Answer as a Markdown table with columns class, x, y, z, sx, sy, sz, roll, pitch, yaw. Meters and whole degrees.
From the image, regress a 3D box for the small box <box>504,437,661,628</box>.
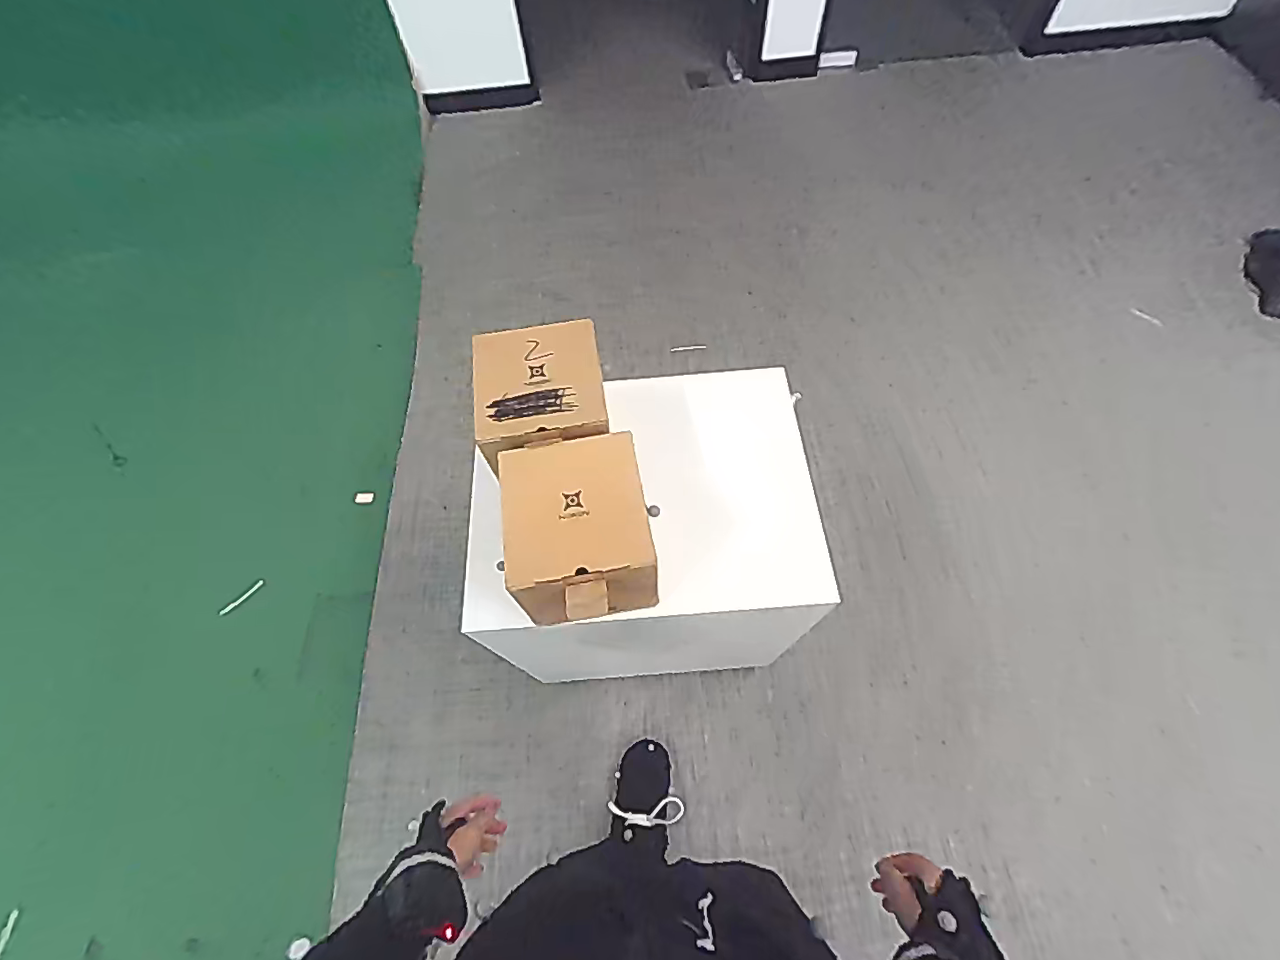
| class | x | y | z | sx | sy | sz | roll | pitch | yaw |
| --- | --- | --- | --- | --- | --- | --- | --- | --- | --- |
| small box | -0.071 | 0.071 | 0.685 | 0.168 | 0.176 | 0.179 | -9 | 62 | -3 |
